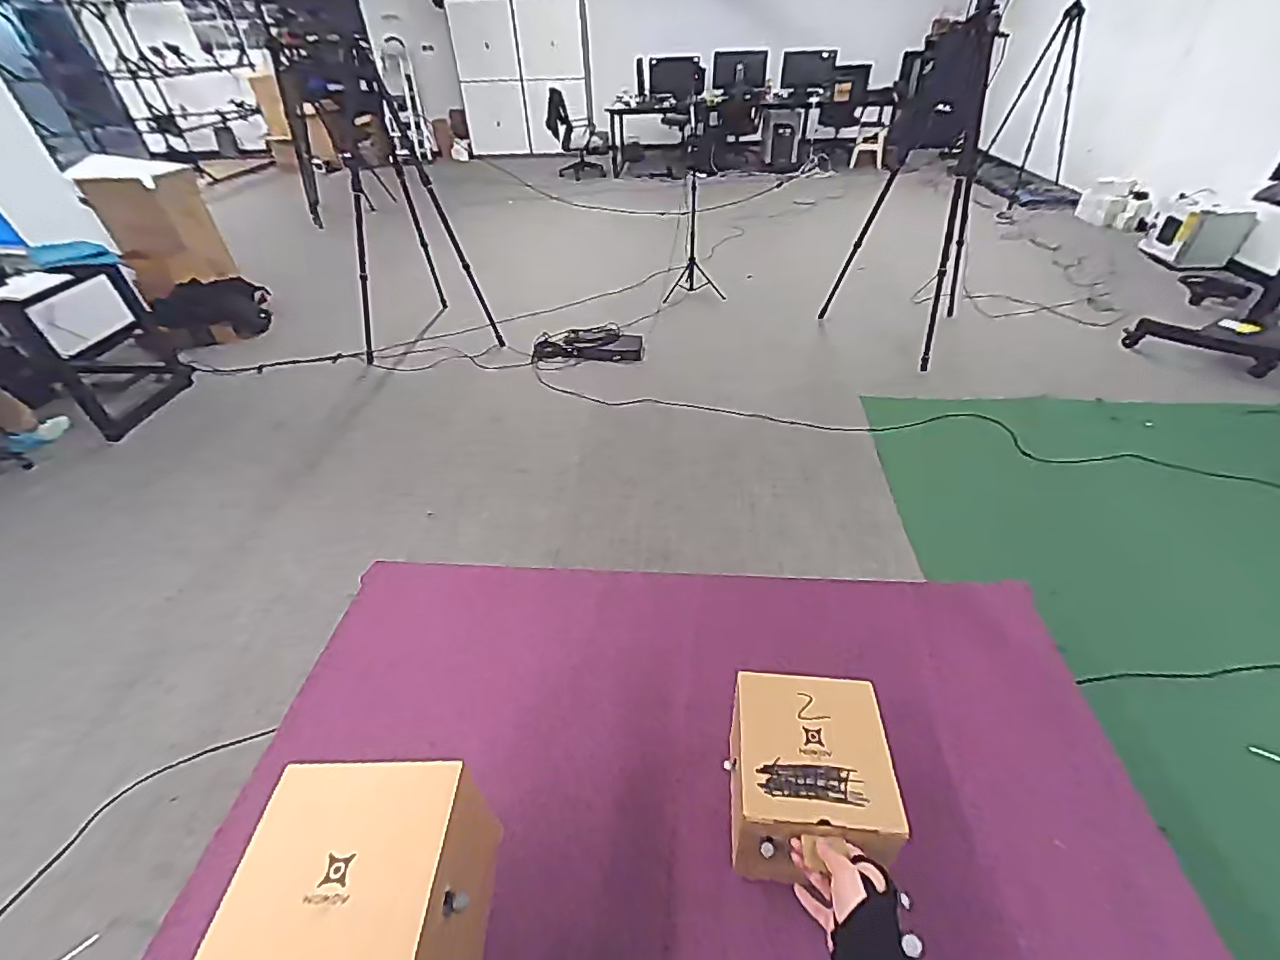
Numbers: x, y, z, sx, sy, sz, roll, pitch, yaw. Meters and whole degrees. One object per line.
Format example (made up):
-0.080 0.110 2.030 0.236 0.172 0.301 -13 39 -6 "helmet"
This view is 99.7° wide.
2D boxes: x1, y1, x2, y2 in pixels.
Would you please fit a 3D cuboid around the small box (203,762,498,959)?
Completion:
-0.238 0.382 0.492 0.168 0.176 0.179 -2 41 3 "small box"
